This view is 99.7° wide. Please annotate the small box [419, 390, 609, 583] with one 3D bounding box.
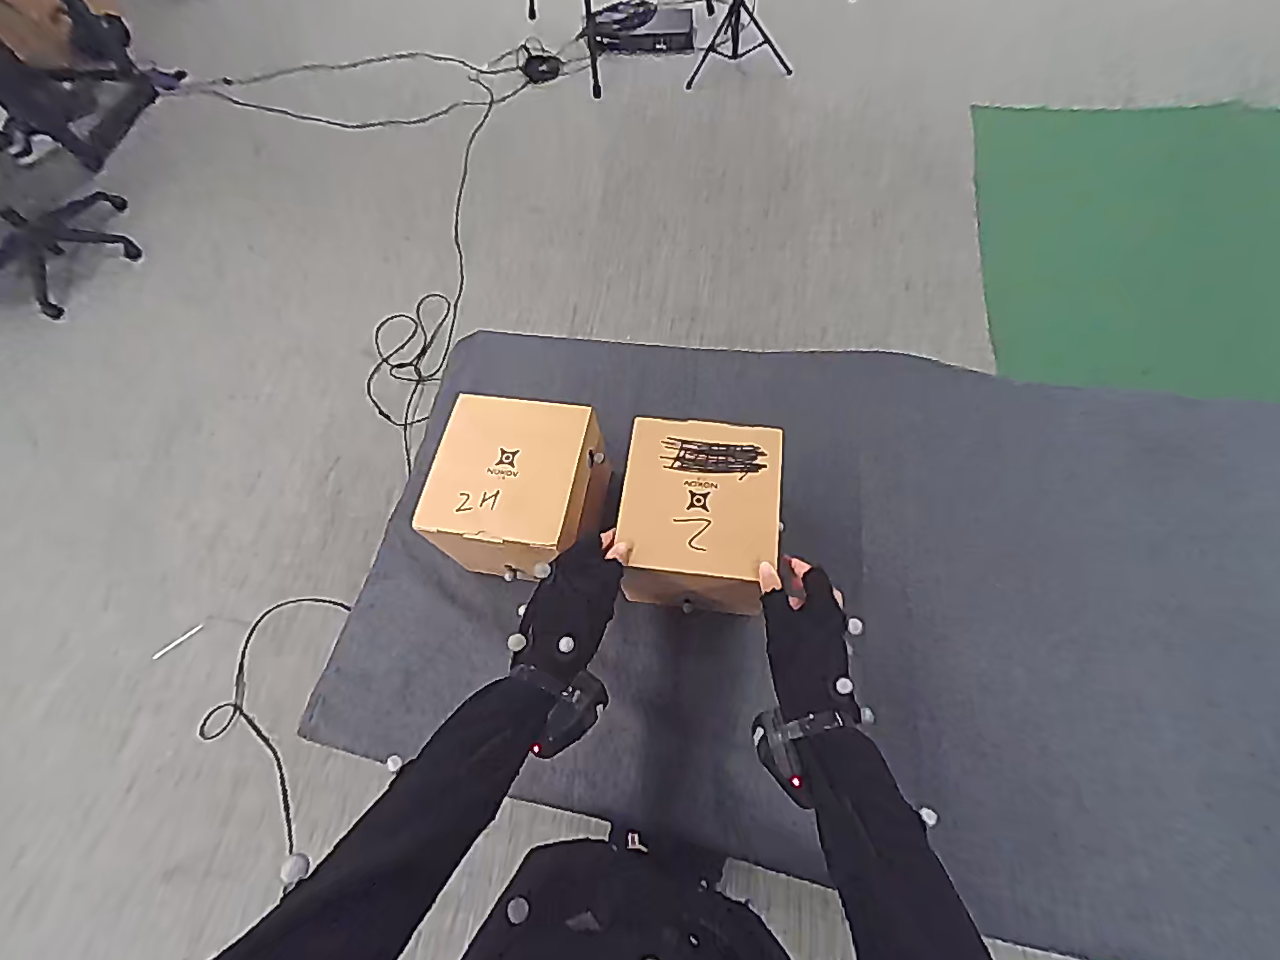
[{"bbox_3d":[-0.139,0.013,0.676,0.168,0.176,0.179,7,66,9],"label":"small box"}]
